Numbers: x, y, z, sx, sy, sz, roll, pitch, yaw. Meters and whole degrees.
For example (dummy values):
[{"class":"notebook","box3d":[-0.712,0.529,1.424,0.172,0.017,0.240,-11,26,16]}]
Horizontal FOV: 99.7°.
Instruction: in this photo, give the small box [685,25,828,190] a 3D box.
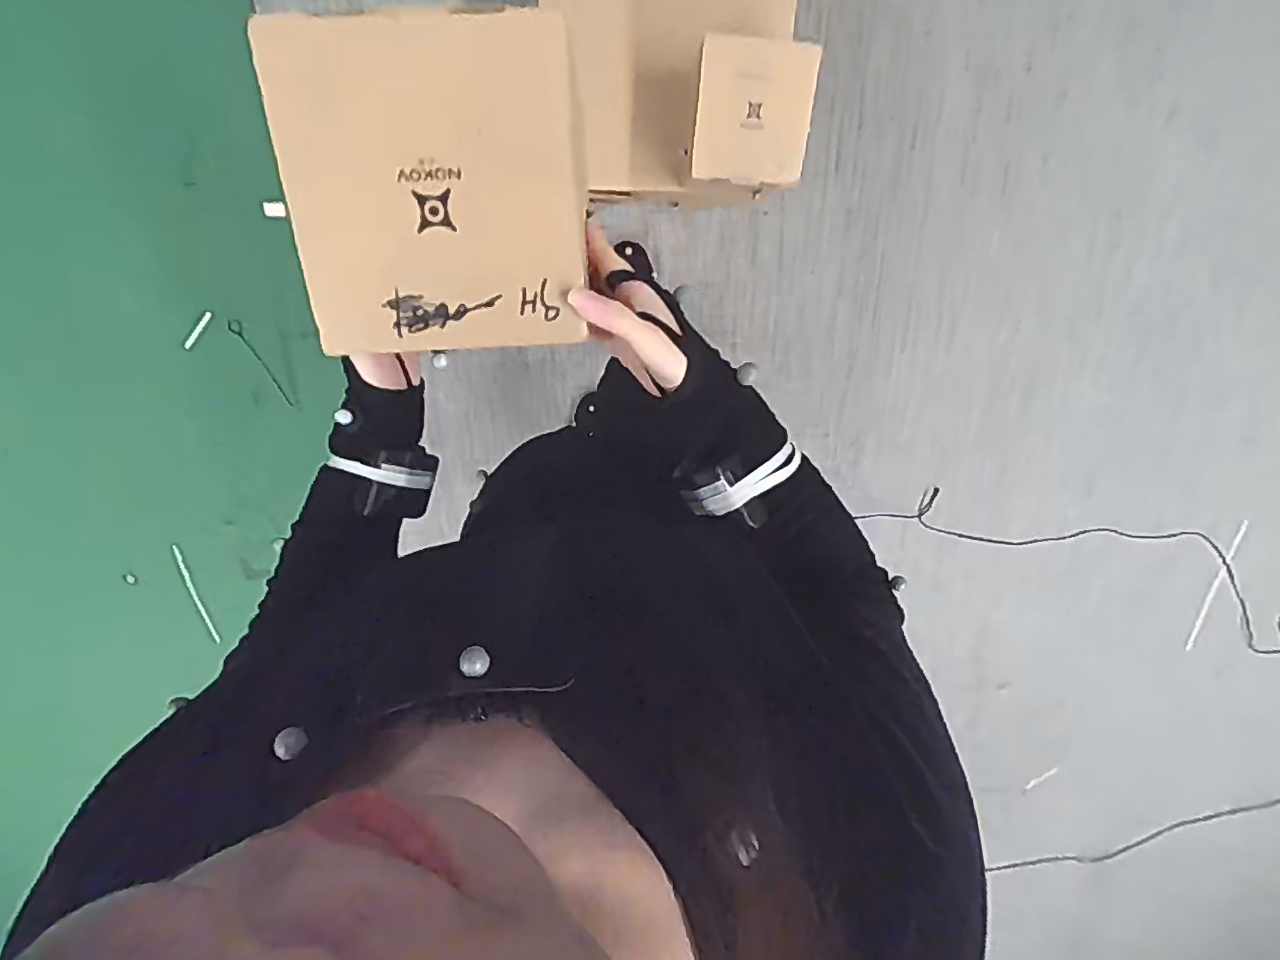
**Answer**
[{"class":"small box","box3d":[0.164,-0.554,0.830,0.168,0.176,0.179,4,114,-4]}]

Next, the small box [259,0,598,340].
[{"class":"small box","box3d":[-0.118,-0.197,0.385,0.168,0.176,0.179,-3,109,-1]}]
